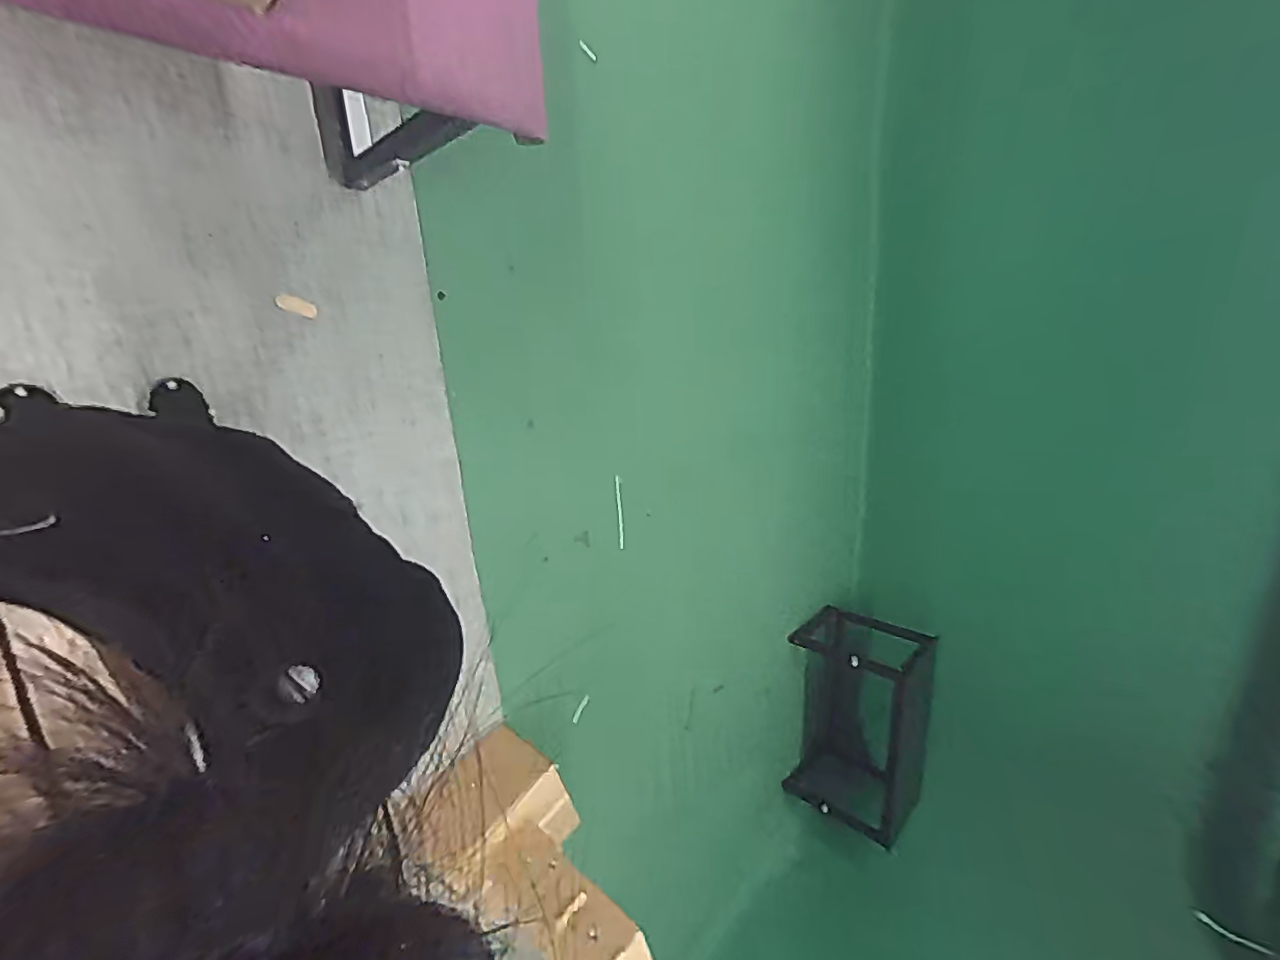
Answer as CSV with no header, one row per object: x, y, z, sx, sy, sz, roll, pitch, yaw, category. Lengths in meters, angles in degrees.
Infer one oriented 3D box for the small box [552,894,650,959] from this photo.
-0.097,1.202,1.363,0.168,0.176,0.179,-31,118,-38,small box

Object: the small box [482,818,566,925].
-0.330,1.147,1.587,0.179,0.176,0.168,-32,119,-38,small box

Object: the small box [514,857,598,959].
-0.218,1.178,1.471,0.168,0.176,0.179,-30,118,-39,small box

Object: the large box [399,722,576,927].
-0.489,1.098,1.769,0.408,0.320,0.320,-37,124,-38,large box
